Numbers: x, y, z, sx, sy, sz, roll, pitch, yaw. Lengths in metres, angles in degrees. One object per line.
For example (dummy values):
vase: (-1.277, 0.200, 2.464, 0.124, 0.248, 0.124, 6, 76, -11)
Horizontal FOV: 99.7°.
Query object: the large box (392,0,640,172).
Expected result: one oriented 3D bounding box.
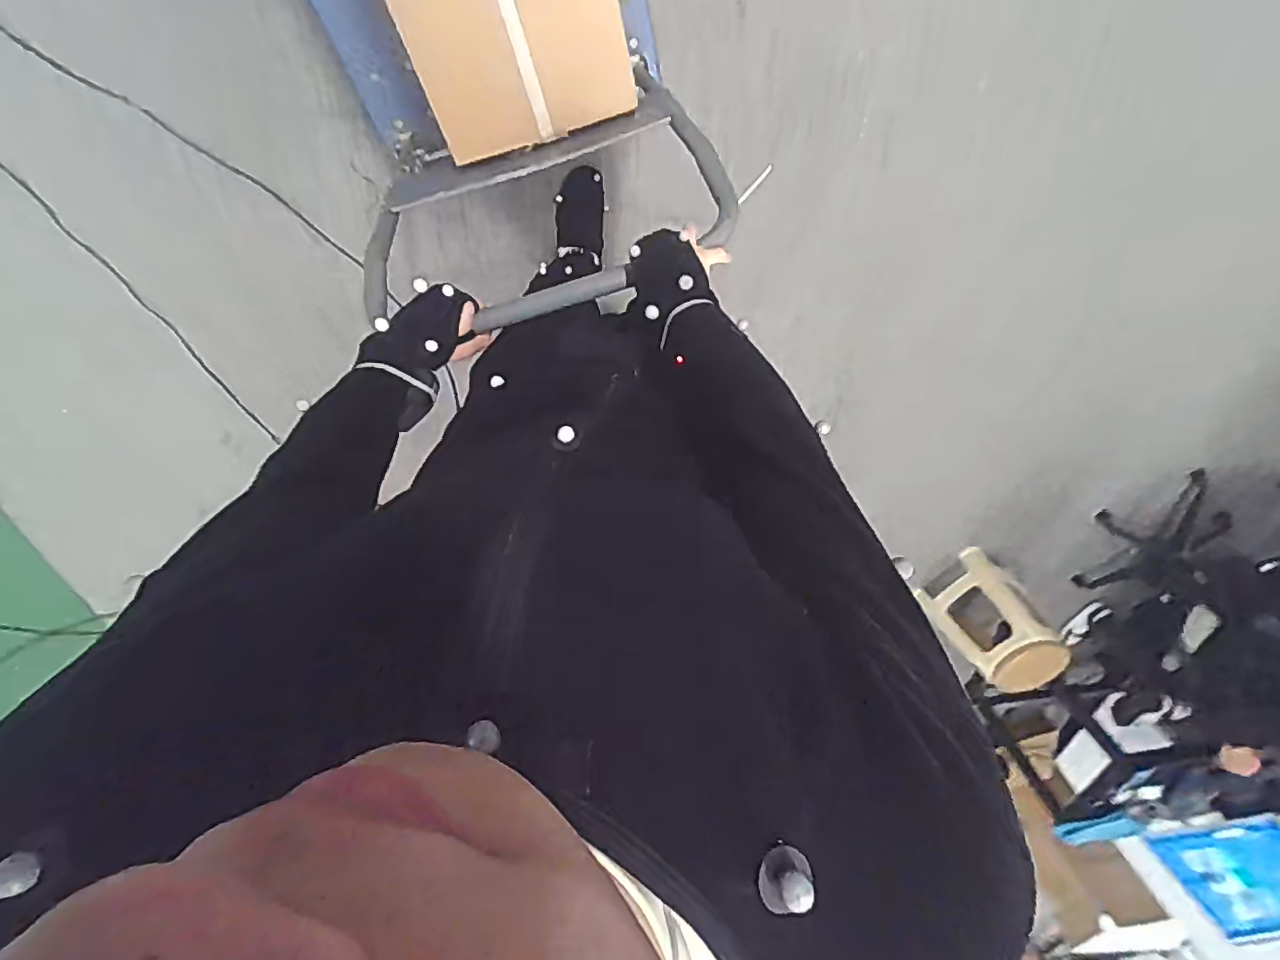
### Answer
large box: (-0.213, -0.792, 0.870, 0.320, 0.320, 0.408, -16, 134, 3)
